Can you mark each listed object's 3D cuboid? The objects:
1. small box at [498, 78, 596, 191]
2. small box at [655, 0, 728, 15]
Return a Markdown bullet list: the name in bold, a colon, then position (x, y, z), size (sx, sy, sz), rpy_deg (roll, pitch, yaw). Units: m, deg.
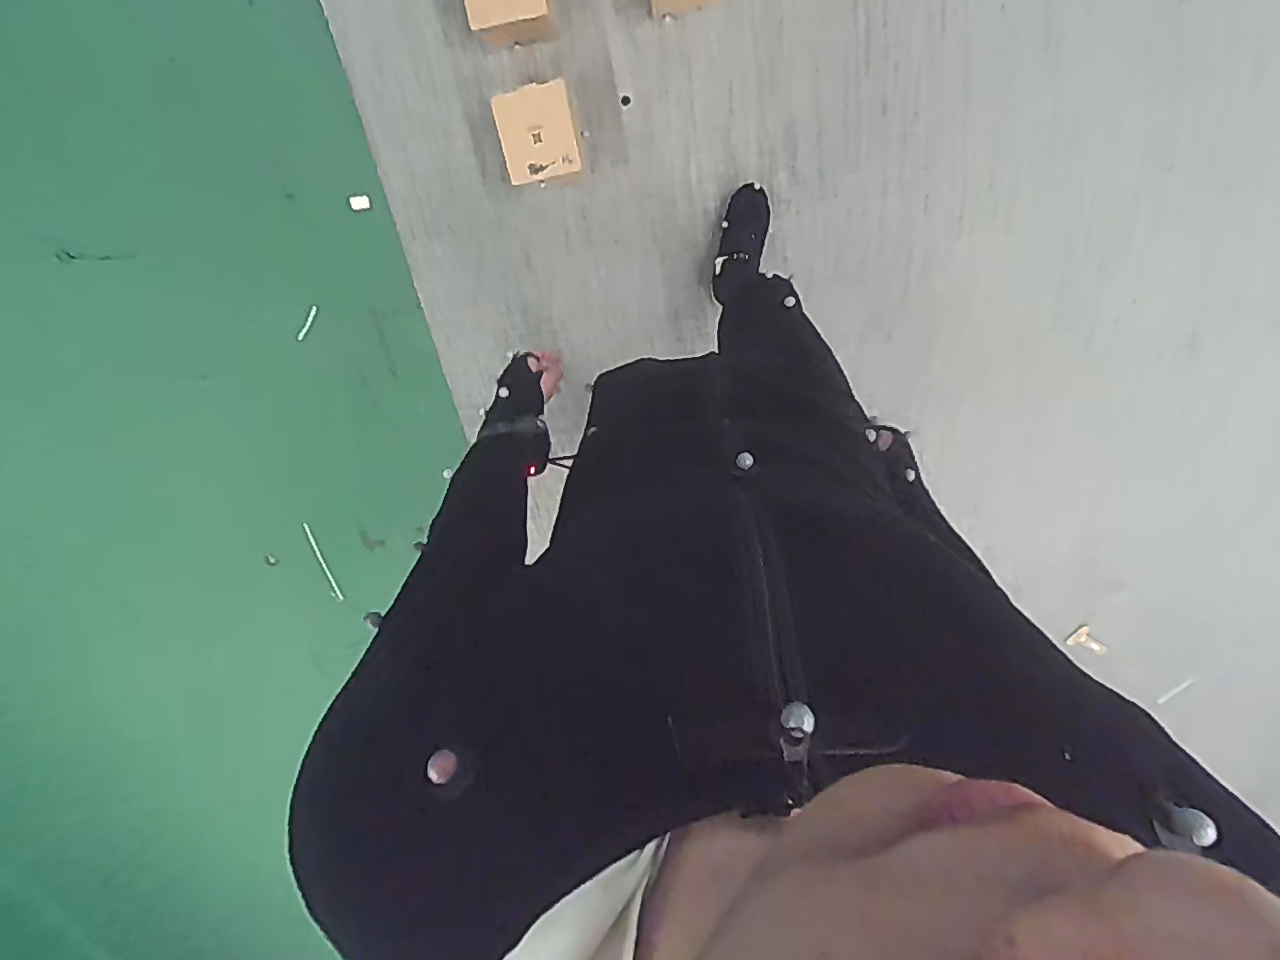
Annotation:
- **small box**: position (-0.207, -0.788, 1.252), size (0.168, 0.176, 0.179), rpy_deg (-8, 112, 8)
- **small box**: position (0.100, -1.084, 1.095), size (0.168, 0.176, 0.179), rpy_deg (-7, 113, 7)
